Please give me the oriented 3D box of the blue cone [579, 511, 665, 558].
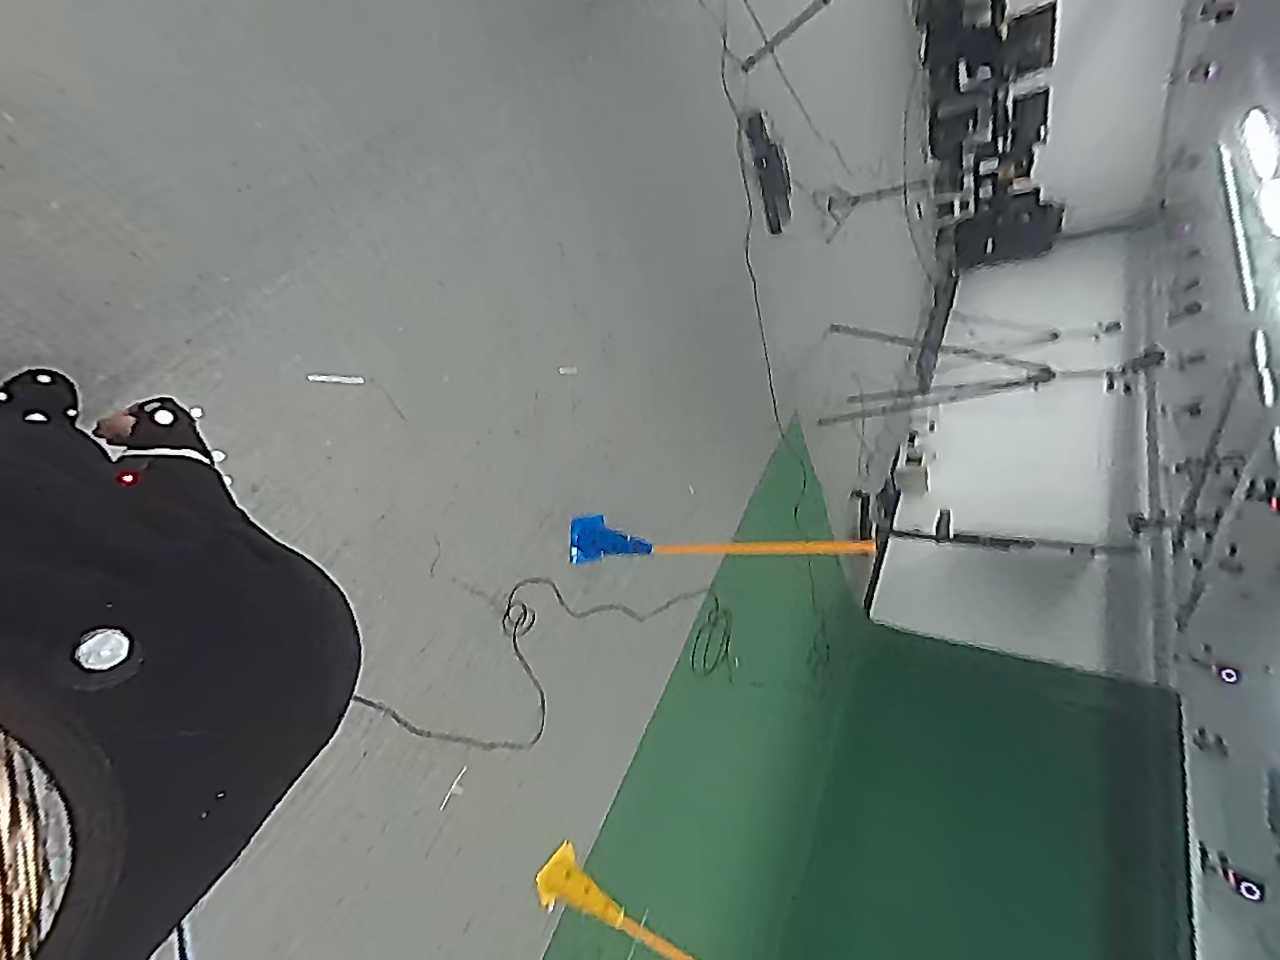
[{"bbox_3d":[-0.066,0.238,2.204,0.192,0.380,0.193,-7,97,-51],"label":"blue cone"}]
